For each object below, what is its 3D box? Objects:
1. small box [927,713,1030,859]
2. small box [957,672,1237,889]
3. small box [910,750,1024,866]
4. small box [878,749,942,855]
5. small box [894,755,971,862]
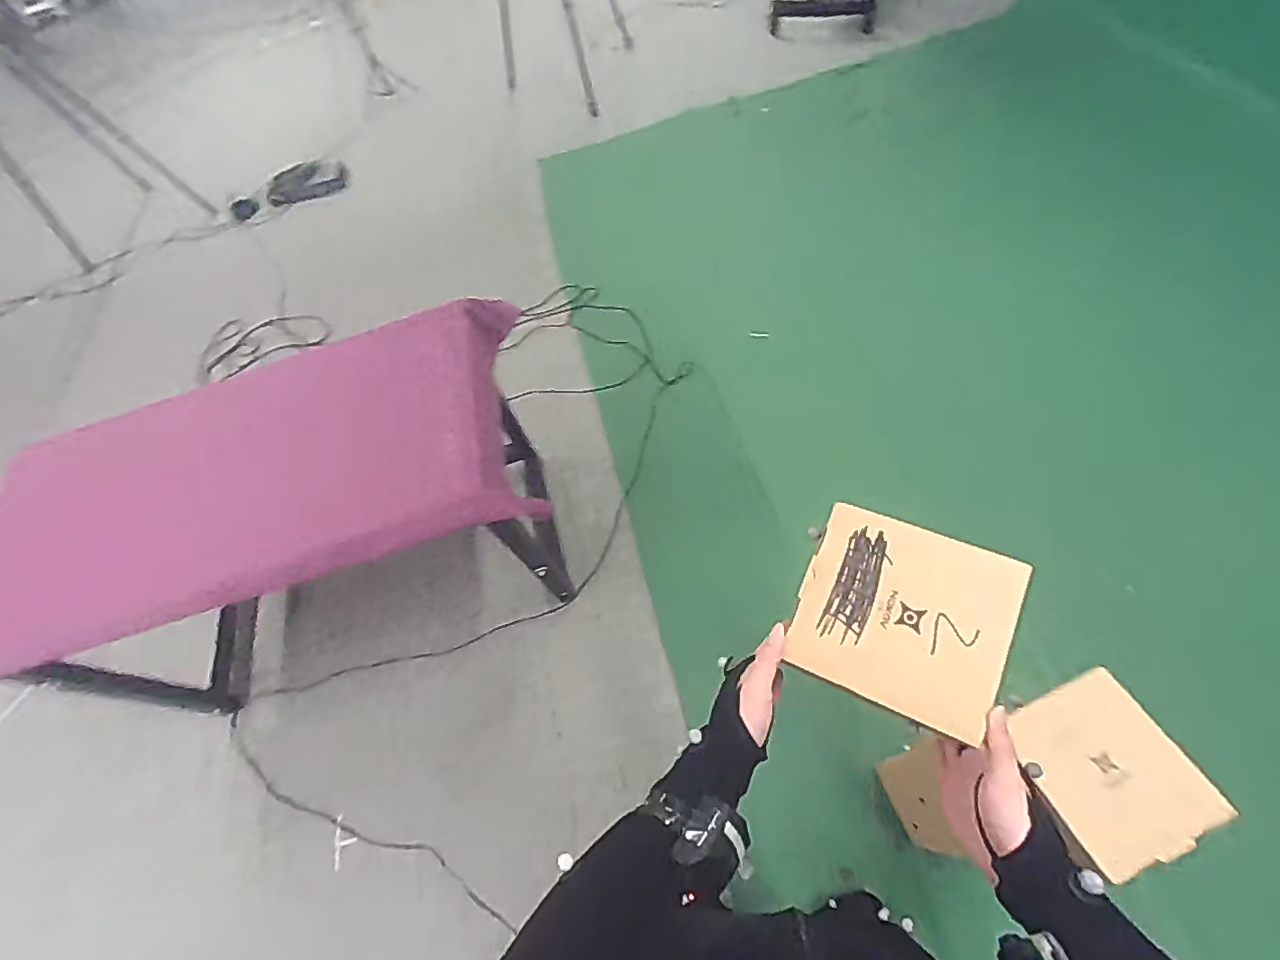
[{"bbox_3d":[0.567,0.457,0.825,0.179,0.176,0.168,-18,57,2],"label":"small box"},{"bbox_3d":[0.549,0.374,0.685,0.168,0.176,0.179,-24,56,-4],"label":"small box"},{"bbox_3d":[0.610,0.549,0.954,0.168,0.176,0.179,-21,58,-1],"label":"small box"},{"bbox_3d":[0.671,0.717,1.226,0.168,0.176,0.179,-20,58,-1],"label":"small box"},{"bbox_3d":[0.643,0.636,1.089,0.168,0.176,0.179,-19,57,0],"label":"small box"}]
